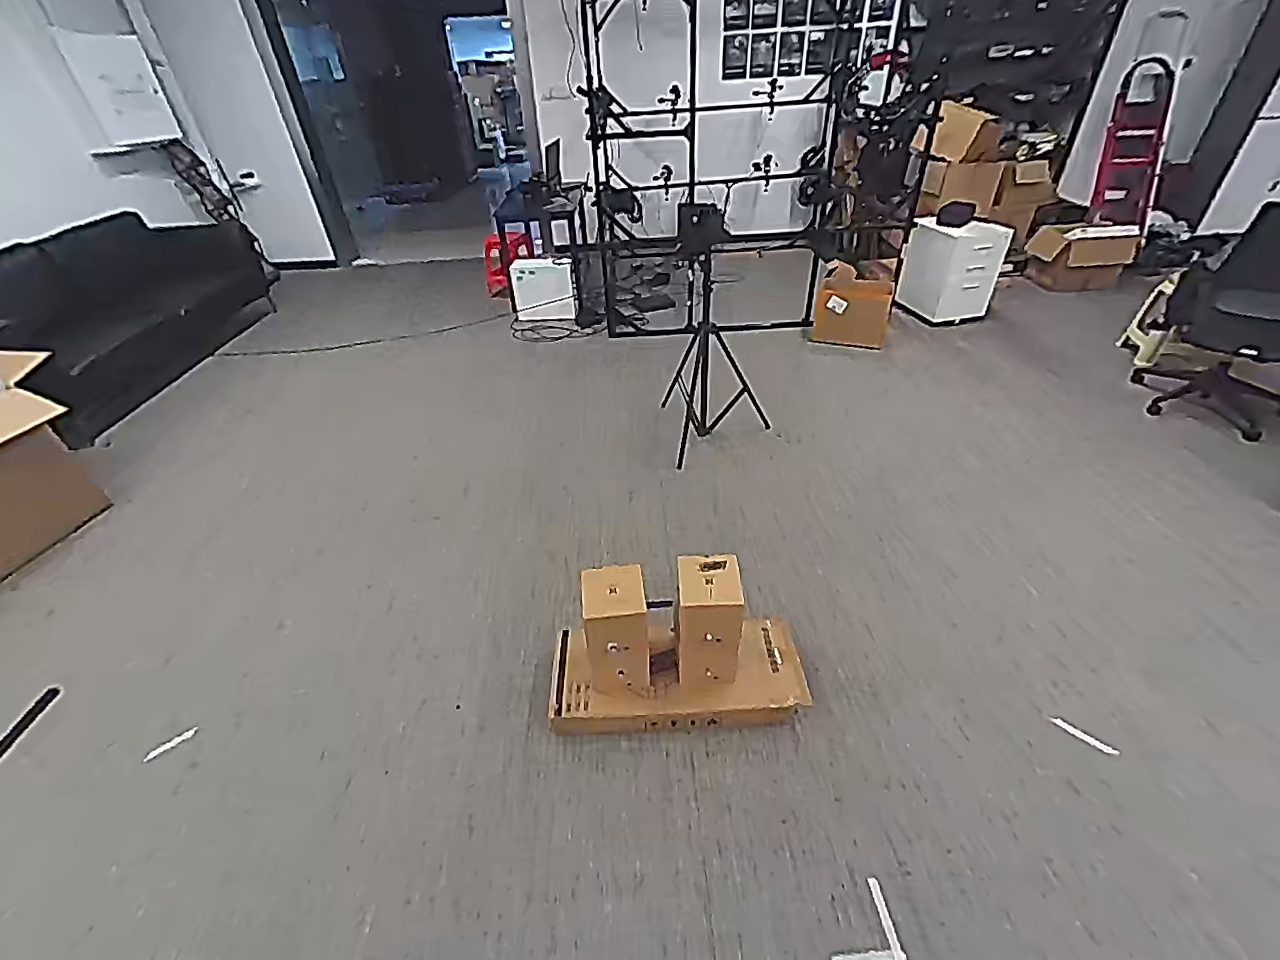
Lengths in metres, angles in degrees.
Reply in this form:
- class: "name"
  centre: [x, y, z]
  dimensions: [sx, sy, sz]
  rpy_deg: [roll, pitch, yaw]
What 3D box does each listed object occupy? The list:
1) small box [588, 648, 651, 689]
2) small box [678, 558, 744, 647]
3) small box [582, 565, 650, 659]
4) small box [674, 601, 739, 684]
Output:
- class: "small box"
  centre: [-0.059, 0.489, 1.572]
  dimensions: [0.168, 0.176, 0.179]
  rpy_deg: [-5, 37, -2]
- class: "small box"
  centre: [0.189, 0.336, 1.484]
  dimensions: [0.168, 0.176, 0.179]
  rpy_deg: [-2, 37, 2]
- class: "small box"
  centre: [-0.066, 0.360, 1.472]
  dimensions: [0.168, 0.176, 0.179]
  rpy_deg: [-7, 37, -4]
- class: "small box"
  centre: [0.188, 0.470, 1.580]
  dimensions: [0.168, 0.176, 0.179]
  rpy_deg: [-4, 36, 0]
